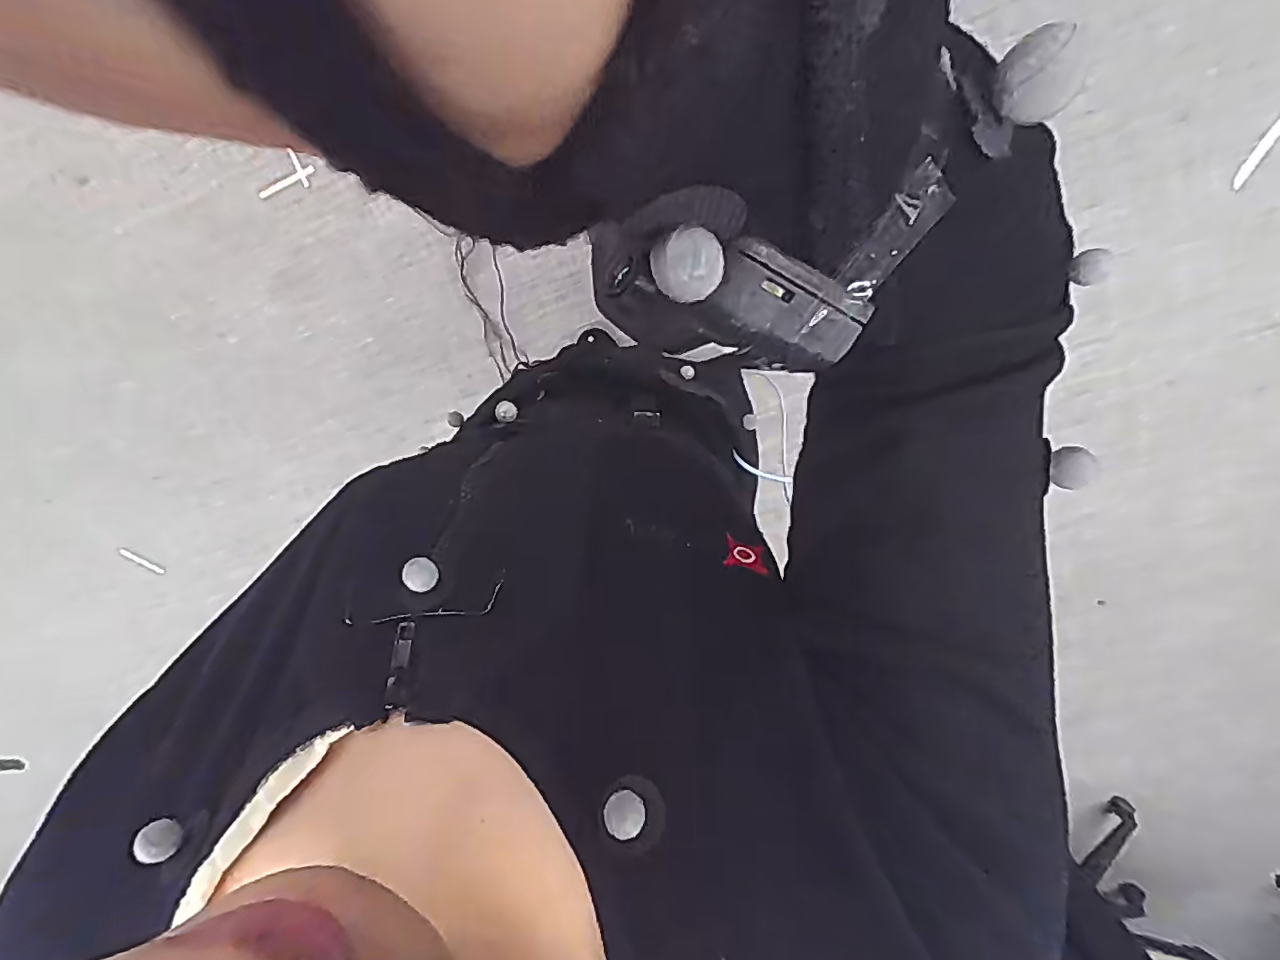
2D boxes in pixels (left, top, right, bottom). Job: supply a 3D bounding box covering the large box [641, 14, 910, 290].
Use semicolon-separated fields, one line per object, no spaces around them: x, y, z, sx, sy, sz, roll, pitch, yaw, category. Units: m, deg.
0.236;-0.576;1.037;0.408;0.320;0.320;-12;107;7;large box
